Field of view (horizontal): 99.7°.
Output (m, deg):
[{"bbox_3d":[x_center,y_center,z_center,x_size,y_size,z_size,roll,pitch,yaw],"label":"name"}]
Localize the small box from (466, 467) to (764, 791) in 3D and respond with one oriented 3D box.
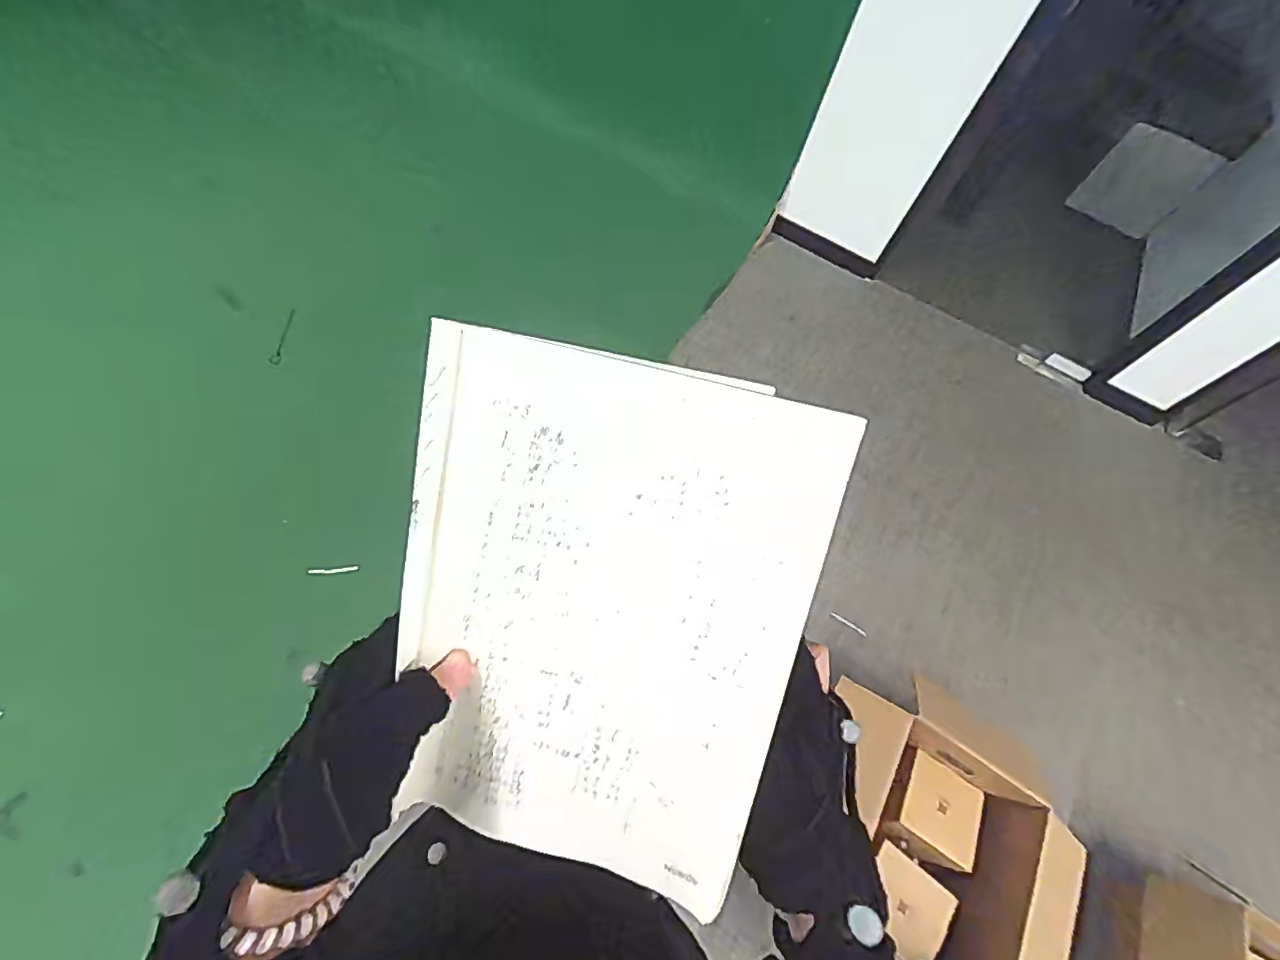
[{"bbox_3d":[-0.008,0.098,0.399,0.168,0.176,0.179,4,80,4],"label":"small box"}]
